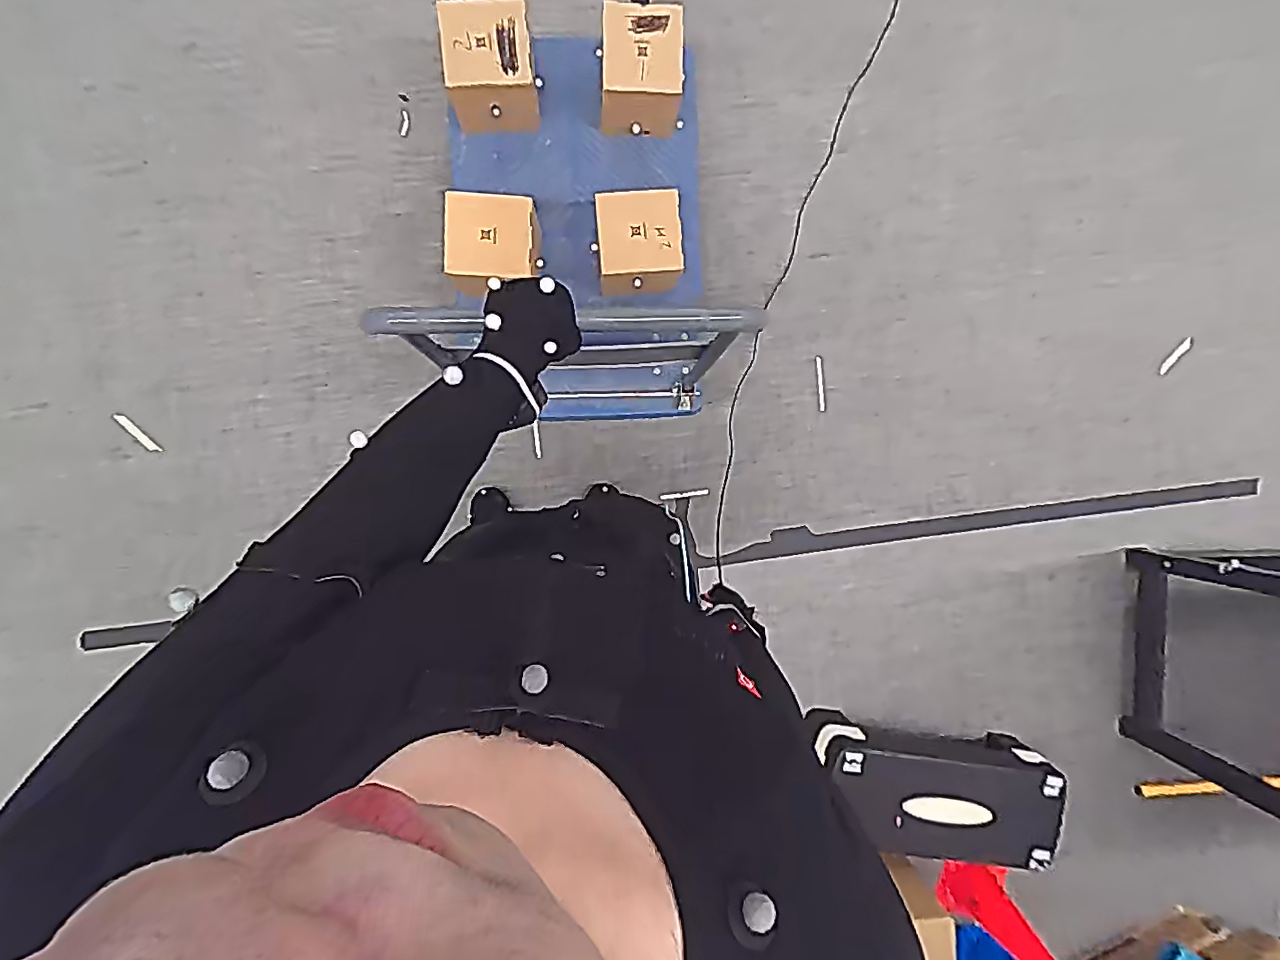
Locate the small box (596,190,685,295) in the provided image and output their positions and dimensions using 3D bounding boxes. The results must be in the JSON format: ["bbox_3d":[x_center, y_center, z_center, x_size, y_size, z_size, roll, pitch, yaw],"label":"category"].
[{"bbox_3d":[-0.002,-0.517,1.198,0.179,0.176,0.168,-5,94,-3],"label":"small box"}]

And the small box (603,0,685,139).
[{"bbox_3d":[0.003,-0.884,1.178,0.168,0.176,0.179,0,94,-4],"label":"small box"}]

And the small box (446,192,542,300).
[{"bbox_3d":[-0.312,-0.501,1.179,0.179,0.176,0.168,1,93,-6],"label":"small box"}]
